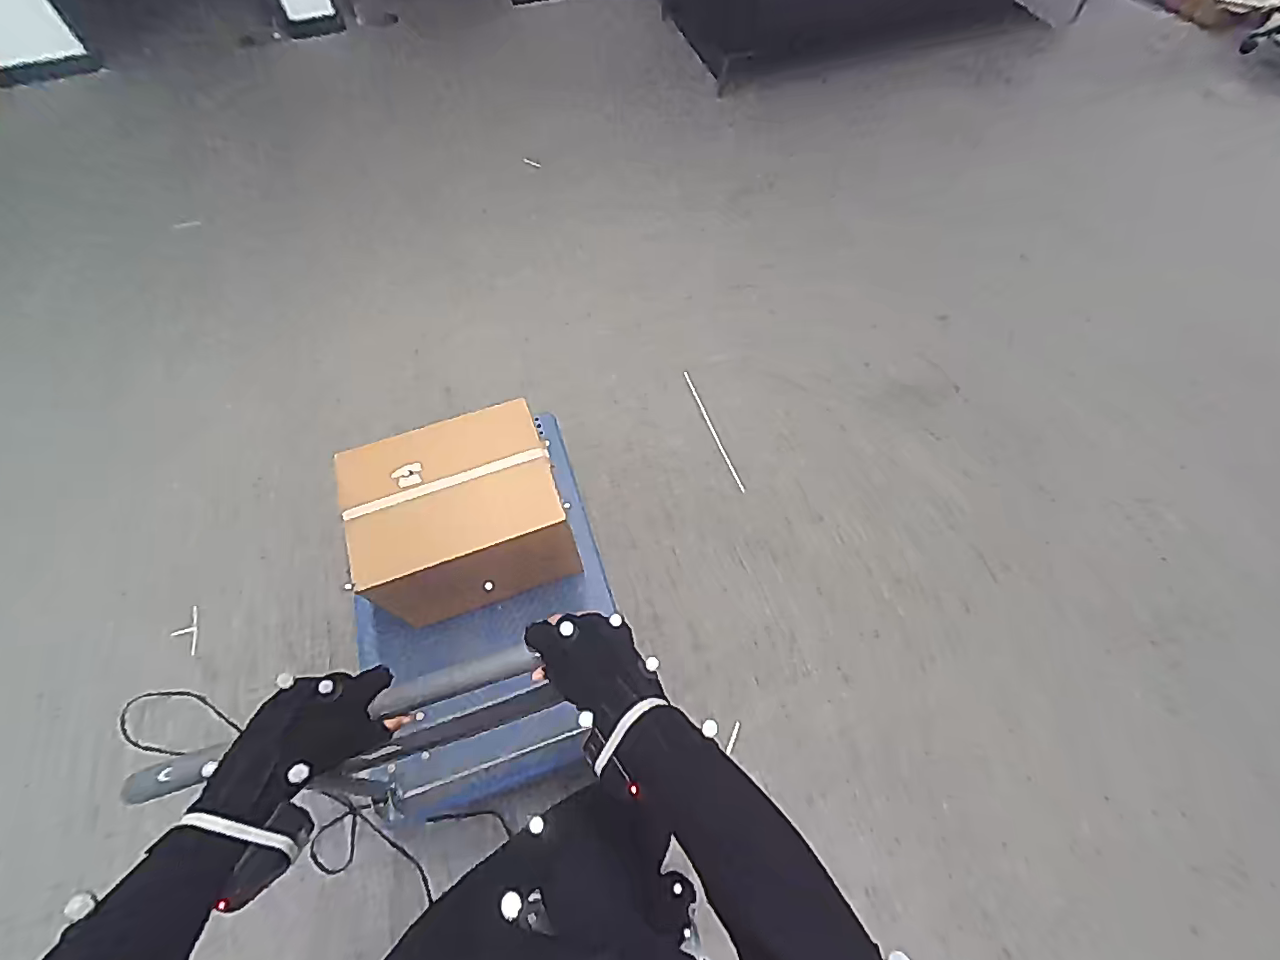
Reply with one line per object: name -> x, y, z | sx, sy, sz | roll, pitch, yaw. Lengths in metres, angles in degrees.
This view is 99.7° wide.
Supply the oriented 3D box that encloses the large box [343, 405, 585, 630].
large box -> -0.370, 0.093, 1.208 | 0.408, 0.320, 0.320 | -19, 63, -9
